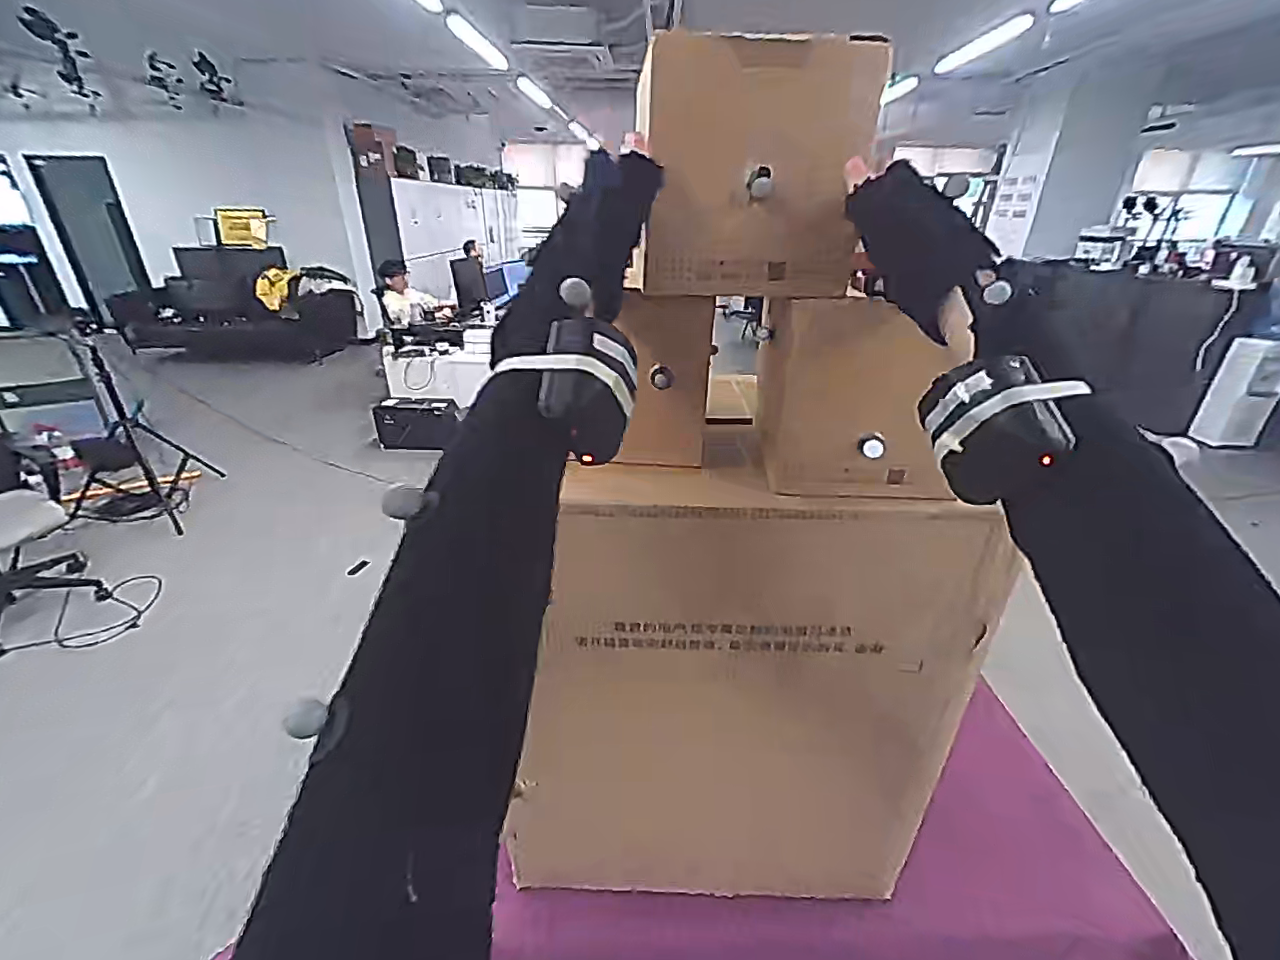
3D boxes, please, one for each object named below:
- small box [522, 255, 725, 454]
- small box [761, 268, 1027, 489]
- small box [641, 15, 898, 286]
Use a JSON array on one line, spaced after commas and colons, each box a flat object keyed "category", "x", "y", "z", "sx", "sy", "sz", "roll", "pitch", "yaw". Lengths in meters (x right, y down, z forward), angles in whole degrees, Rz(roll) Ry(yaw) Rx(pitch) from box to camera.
[{"category": "small box", "x": -0.012, "y": -0.134, "z": 0.562, "sx": 0.179, "sy": 0.176, "sz": 0.168, "roll": 3, "pitch": 26, "yaw": 3}, {"category": "small box", "x": 0.212, "y": -0.105, "z": 0.514, "sx": 0.168, "sy": 0.176, "sz": 0.179, "roll": 1, "pitch": 26, "yaw": 4}, {"category": "small box", "x": 0.087, "y": -0.264, "z": 0.463, "sx": 0.168, "sy": 0.176, "sz": 0.179, "roll": 0, "pitch": 27, "yaw": -4}]
